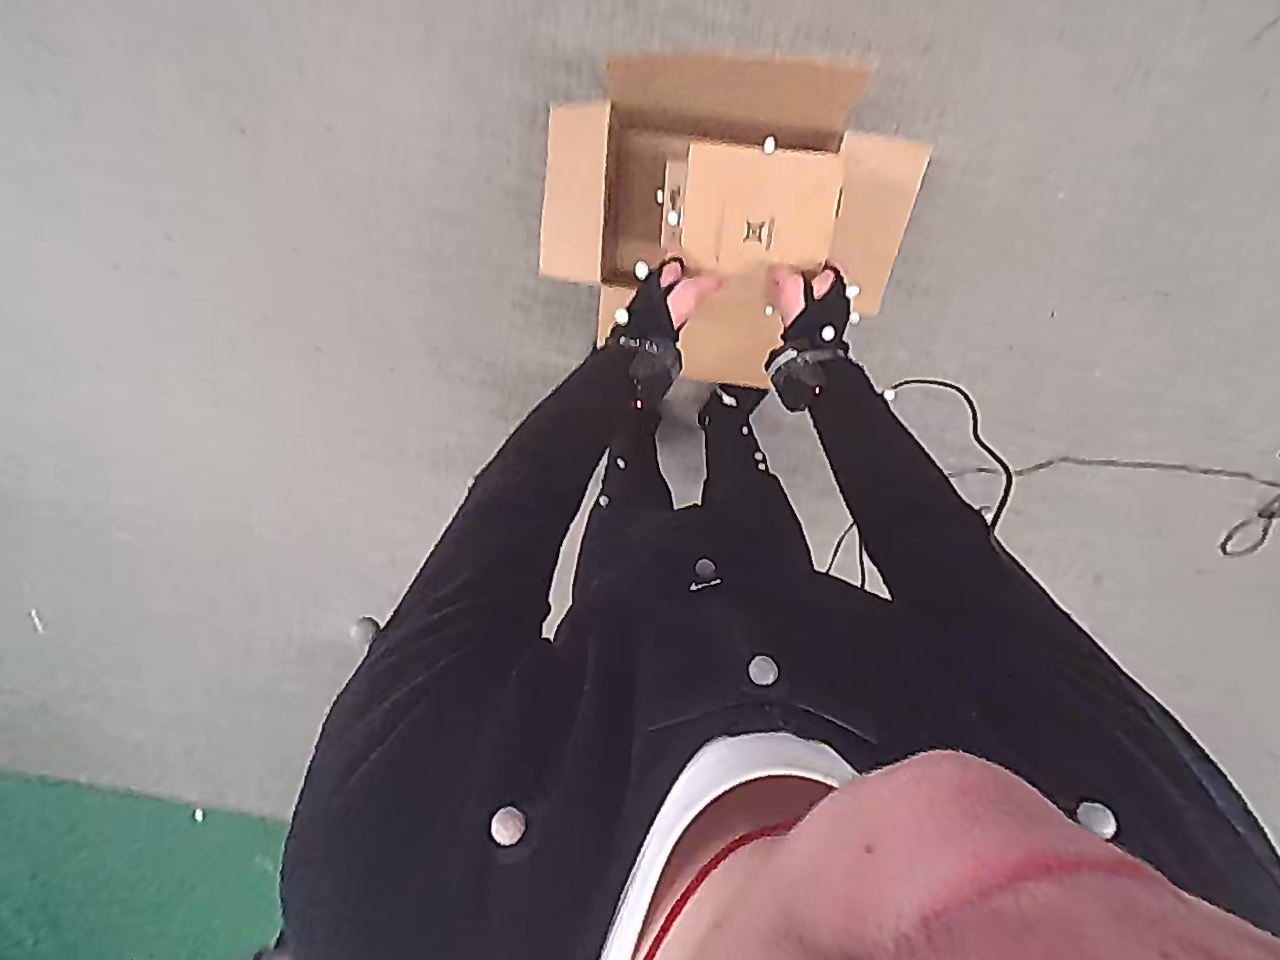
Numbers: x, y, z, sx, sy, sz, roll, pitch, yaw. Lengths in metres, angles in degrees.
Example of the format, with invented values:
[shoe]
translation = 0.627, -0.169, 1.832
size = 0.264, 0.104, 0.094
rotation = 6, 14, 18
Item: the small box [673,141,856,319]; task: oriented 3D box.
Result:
[small box]
translation = 0.139, -0.306, 0.680
size = 0.179, 0.176, 0.168
rotation = 8, 112, 0
